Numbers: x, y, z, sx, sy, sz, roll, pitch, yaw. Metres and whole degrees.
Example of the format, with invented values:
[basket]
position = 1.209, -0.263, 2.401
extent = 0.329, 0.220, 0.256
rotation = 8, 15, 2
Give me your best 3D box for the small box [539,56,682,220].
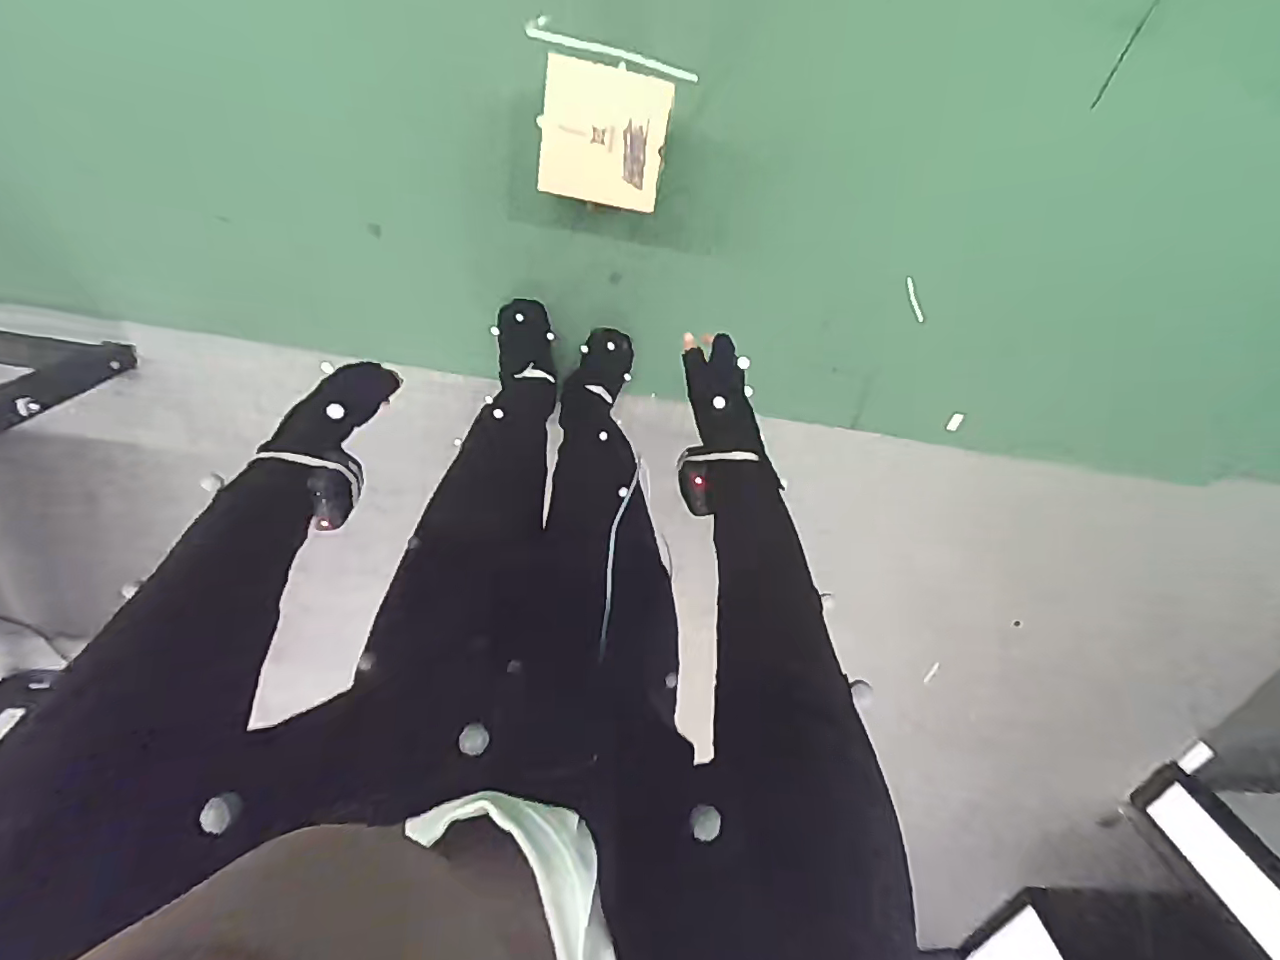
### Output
[small box]
position = -0.052, -0.516, 0.834
extent = 0.179, 0.176, 0.168
rotation = 9, 117, -11
